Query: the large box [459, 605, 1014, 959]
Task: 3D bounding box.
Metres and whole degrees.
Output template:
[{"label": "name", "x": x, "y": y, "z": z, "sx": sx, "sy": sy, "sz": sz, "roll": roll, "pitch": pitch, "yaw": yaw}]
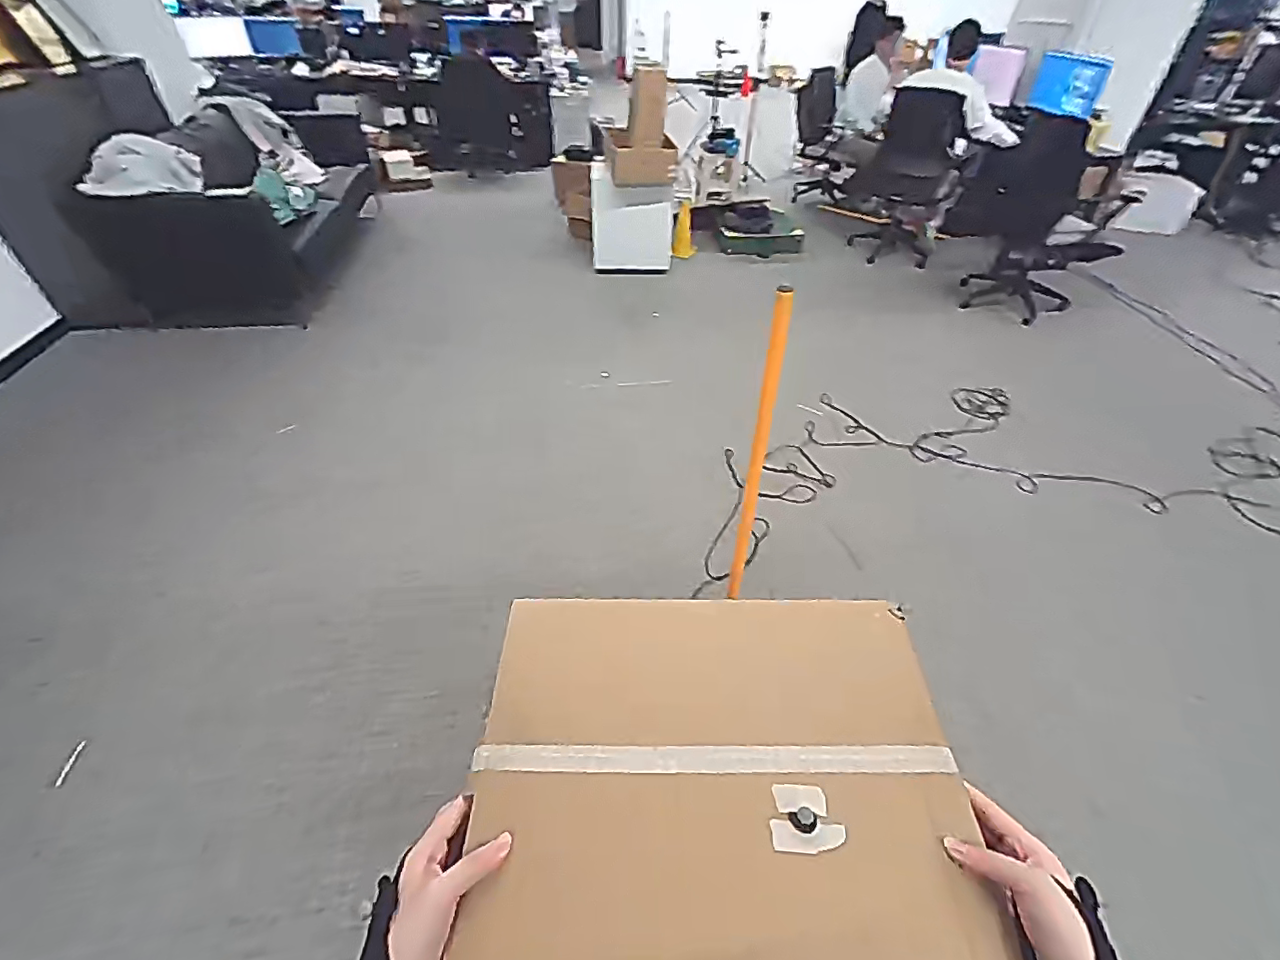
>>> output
[{"label": "large box", "x": 0.064, "y": 0.351, "z": 0.582, "sx": 0.408, "sy": 0.320, "sz": 0.320, "roll": 0, "pitch": 46, "yaw": 0}]
